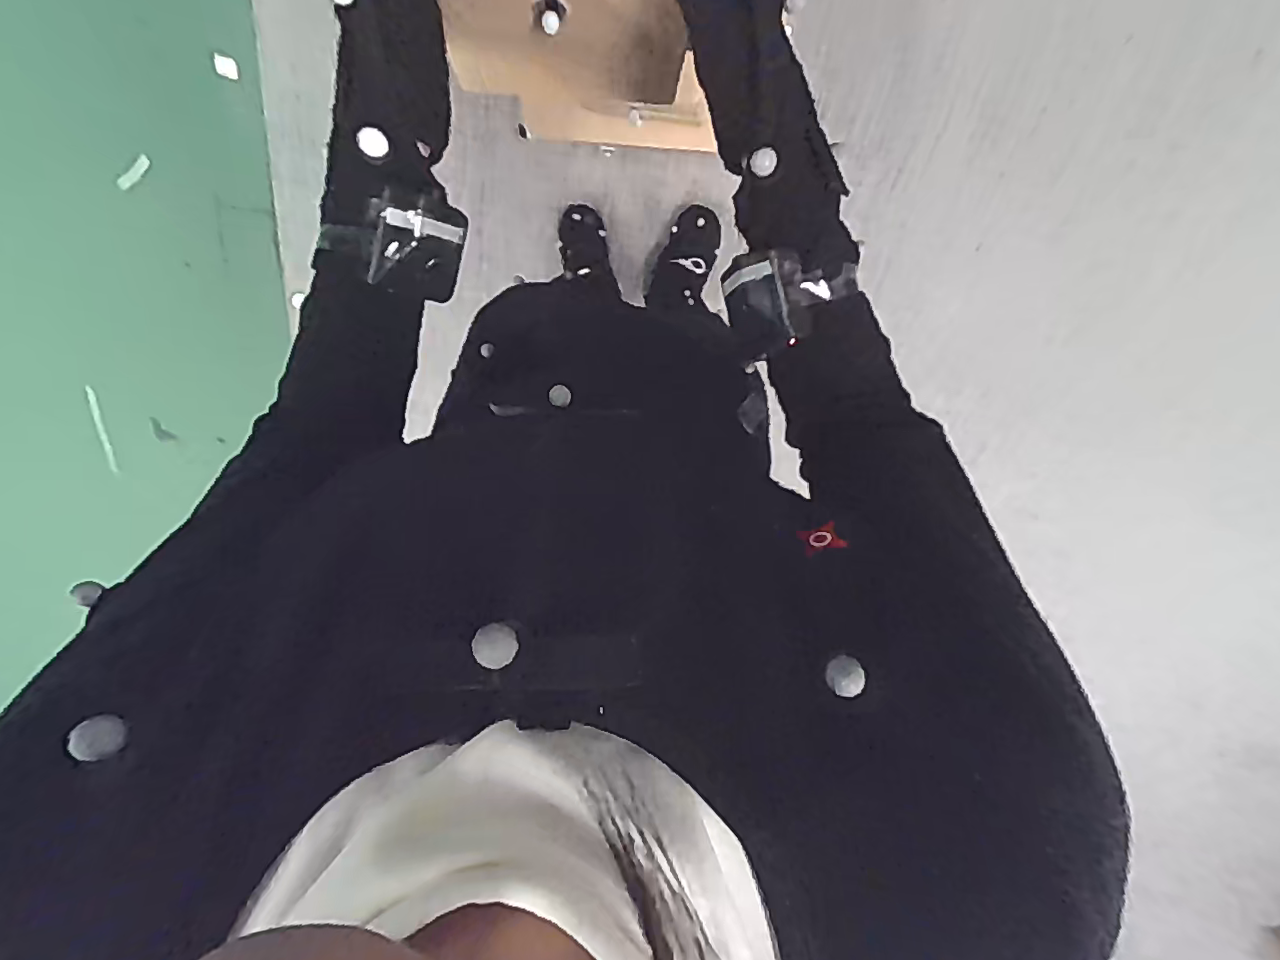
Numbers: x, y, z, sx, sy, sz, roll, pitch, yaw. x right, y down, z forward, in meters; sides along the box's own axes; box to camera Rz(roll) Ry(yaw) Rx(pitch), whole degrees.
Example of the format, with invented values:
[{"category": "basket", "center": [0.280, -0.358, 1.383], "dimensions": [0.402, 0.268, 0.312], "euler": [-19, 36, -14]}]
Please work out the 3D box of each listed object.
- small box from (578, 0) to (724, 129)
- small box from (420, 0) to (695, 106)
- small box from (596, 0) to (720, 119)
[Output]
[{"category": "small box", "center": [0.017, -0.597, 0.752], "dimensions": [0.179, 0.176, 0.168], "euler": [8, 122, 1]}, {"category": "small box", "center": [-0.054, -0.377, 0.351], "dimensions": [0.179, 0.176, 0.168], "euler": [-3, 95, -5]}, {"category": "small box", "center": [0.001, -0.520, 0.608], "dimensions": [0.168, 0.176, 0.179], "euler": [9, 122, 3]}]
